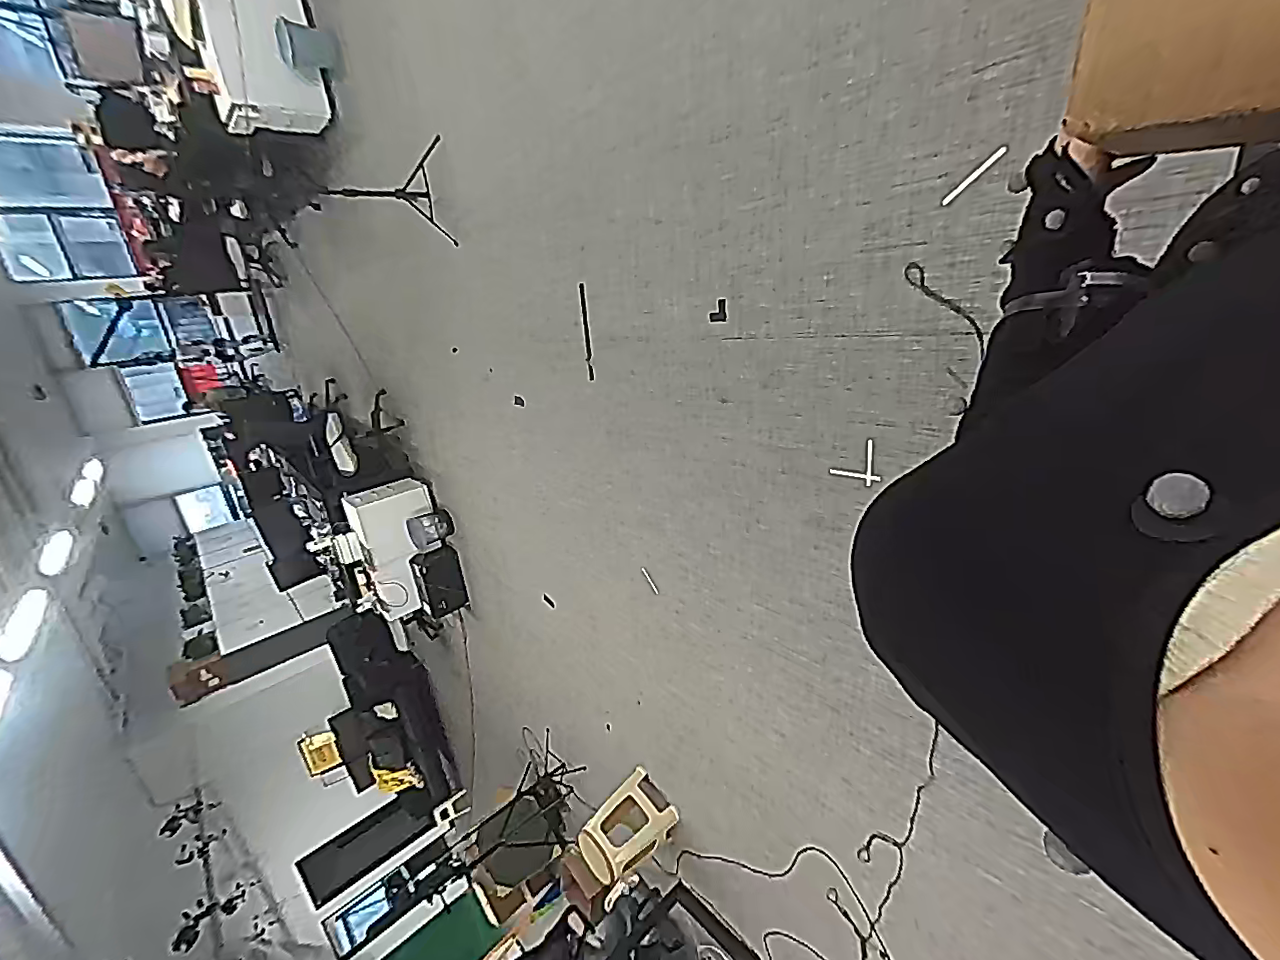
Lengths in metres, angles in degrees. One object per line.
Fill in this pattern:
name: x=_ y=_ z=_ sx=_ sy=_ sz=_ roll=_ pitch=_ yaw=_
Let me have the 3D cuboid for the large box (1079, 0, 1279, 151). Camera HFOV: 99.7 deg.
large box: x=0.428 y=-0.316 z=0.163 sx=0.408 sy=0.320 sz=0.320 roll=16 pitch=122 yaw=38
